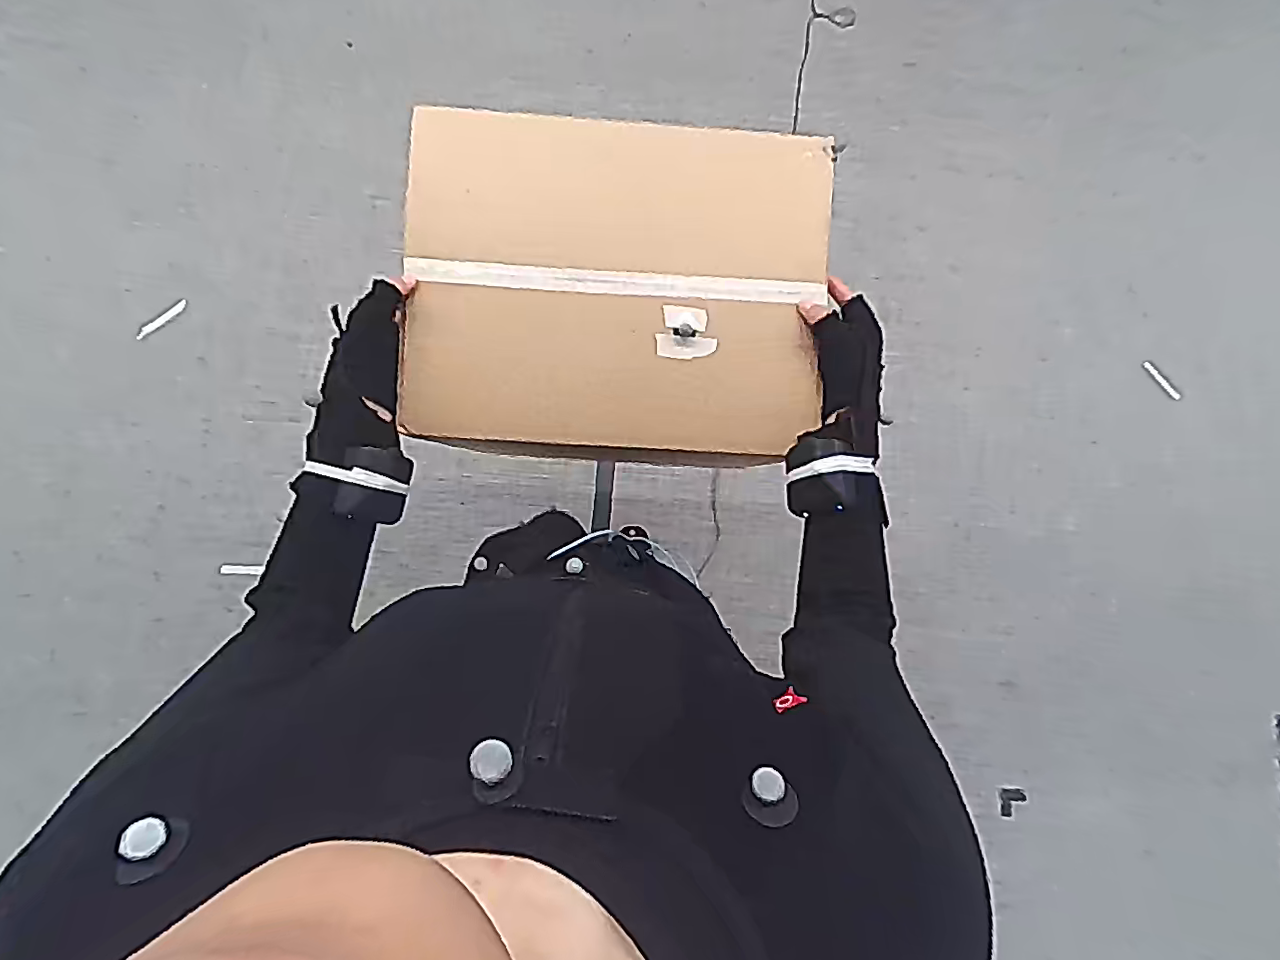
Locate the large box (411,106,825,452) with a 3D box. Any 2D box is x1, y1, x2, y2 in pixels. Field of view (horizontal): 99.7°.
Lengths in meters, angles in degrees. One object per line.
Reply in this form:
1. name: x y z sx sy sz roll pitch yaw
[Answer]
1. large box: -0.027 -0.202 0.678 0.408 0.320 0.320 3 91 -3
